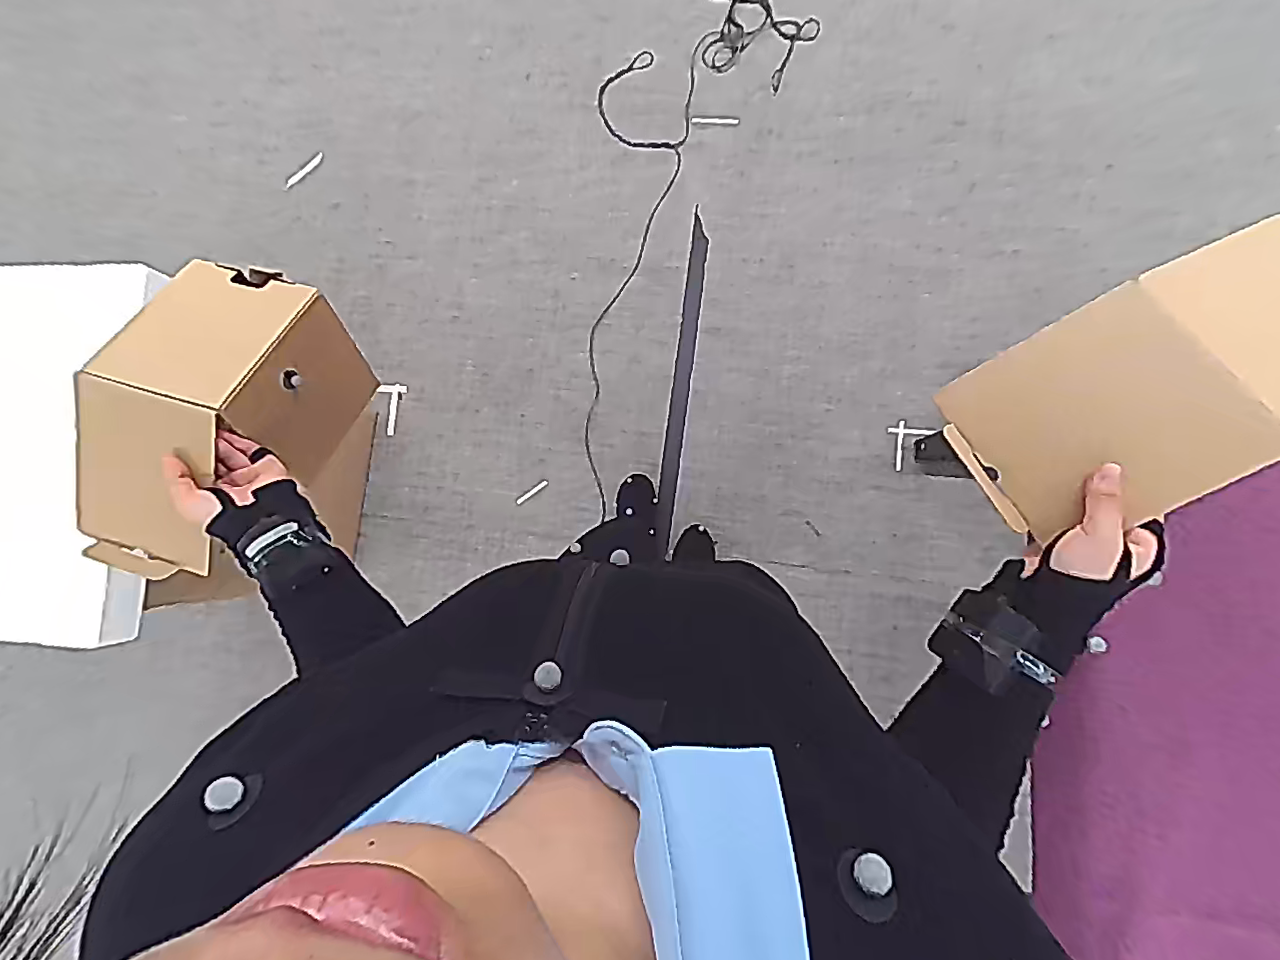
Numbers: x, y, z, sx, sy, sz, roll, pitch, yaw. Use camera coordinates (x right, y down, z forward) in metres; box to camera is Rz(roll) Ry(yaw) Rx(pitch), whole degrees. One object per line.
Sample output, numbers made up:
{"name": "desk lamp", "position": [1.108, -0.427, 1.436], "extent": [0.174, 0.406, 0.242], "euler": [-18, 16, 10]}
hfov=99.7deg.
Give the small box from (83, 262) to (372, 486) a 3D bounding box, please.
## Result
{"name": "small box", "position": [-0.453, -0.116, 0.633], "extent": [0.168, 0.176, 0.179], "euler": [15, 61, 7]}
